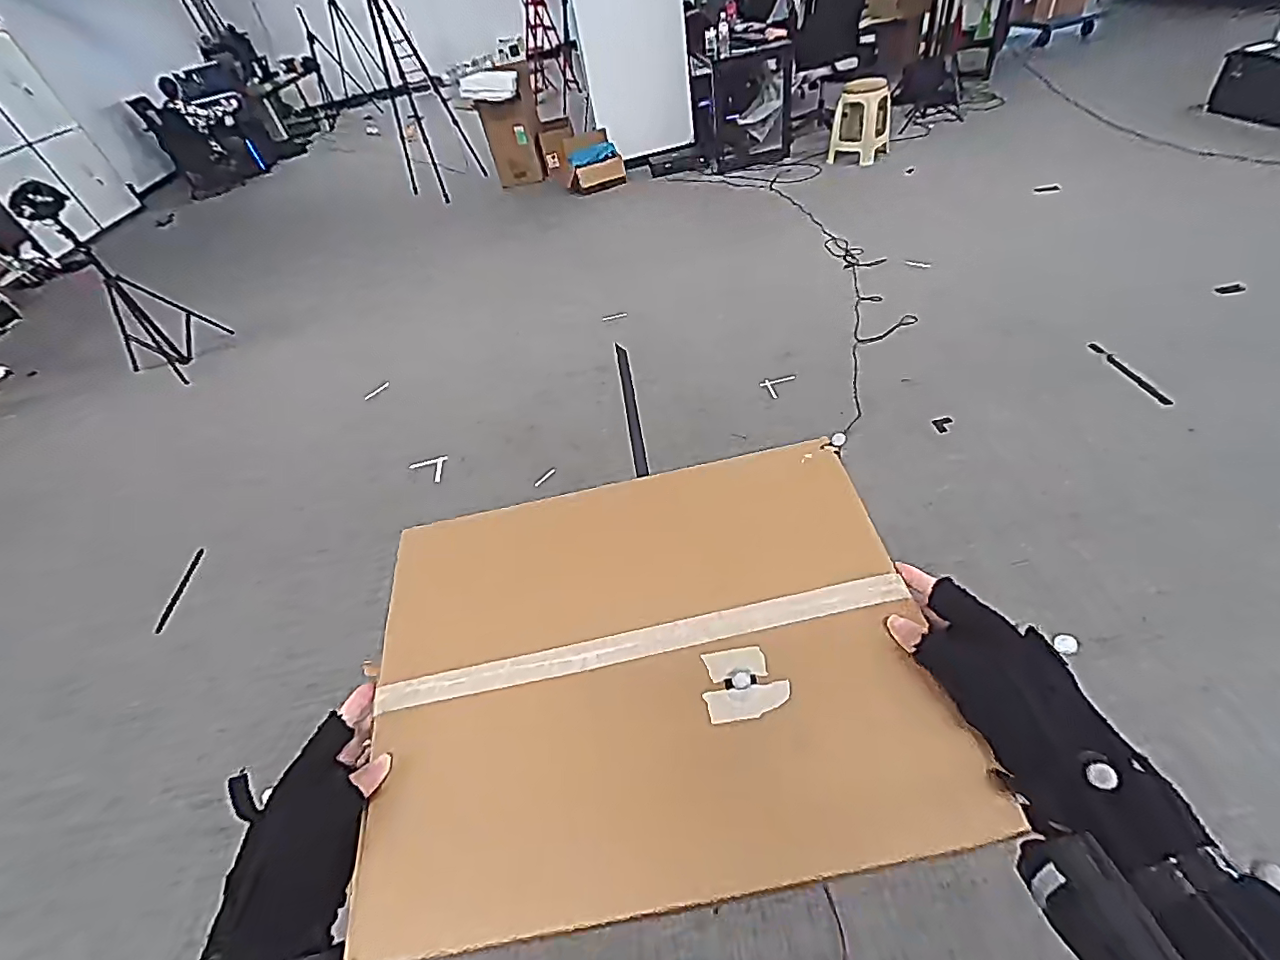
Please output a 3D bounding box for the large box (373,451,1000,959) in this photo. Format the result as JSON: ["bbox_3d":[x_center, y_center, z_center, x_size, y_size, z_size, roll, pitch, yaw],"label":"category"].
[{"bbox_3d":[0.023,0.221,0.536,0.408,0.320,0.320,-12,52,0],"label":"large box"}]
